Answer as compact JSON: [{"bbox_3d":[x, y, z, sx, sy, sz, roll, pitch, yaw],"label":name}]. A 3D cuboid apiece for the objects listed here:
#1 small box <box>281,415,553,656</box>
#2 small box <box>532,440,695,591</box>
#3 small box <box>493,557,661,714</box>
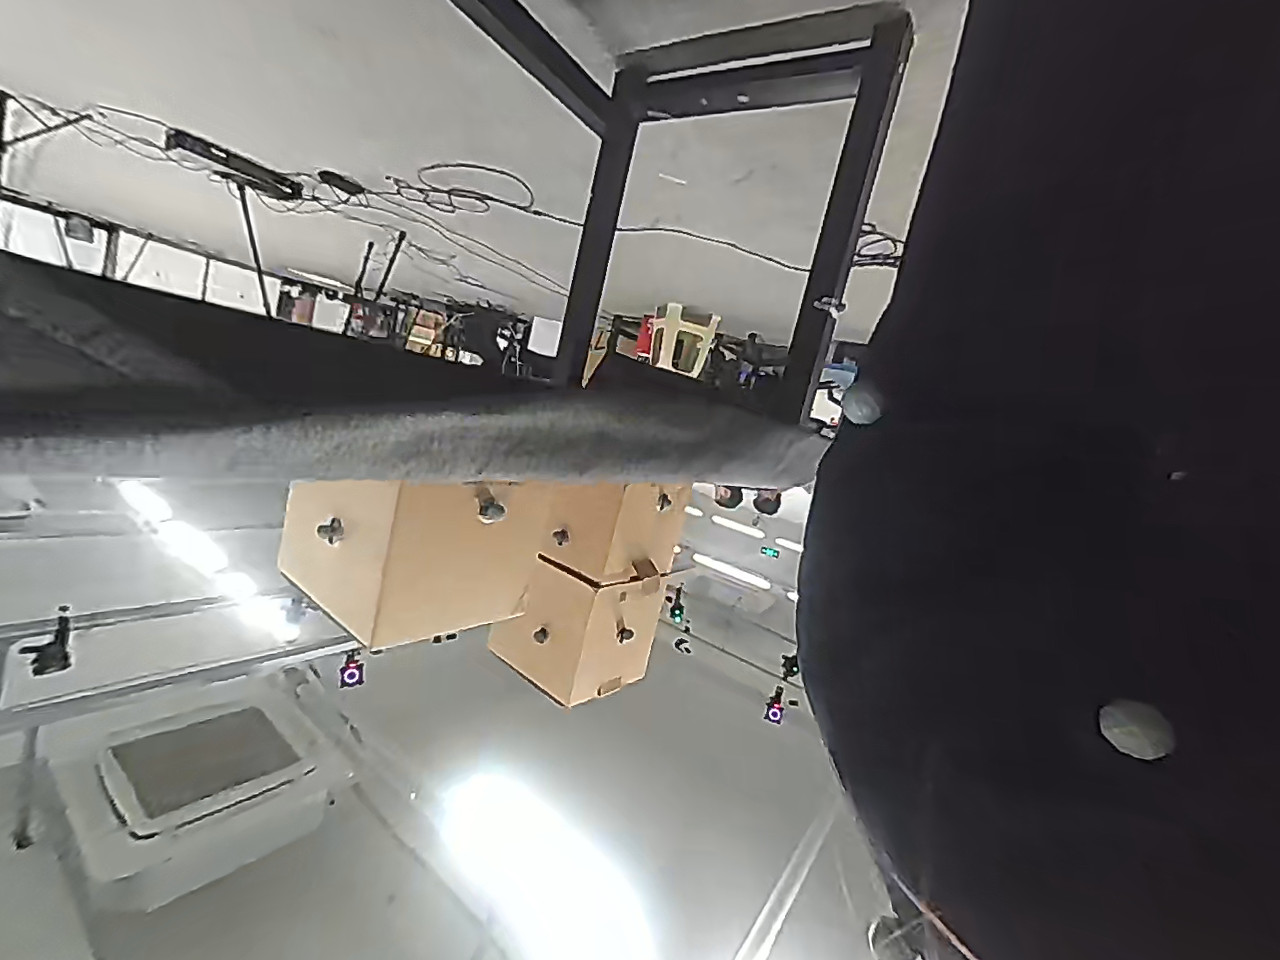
[{"bbox_3d":[-0.207,0.037,0.520,0.179,0.176,0.168,19,-171,34],"label":"small box"},{"bbox_3d":[-0.046,0.041,0.772,0.179,0.176,0.168,18,-172,35],"label":"small box"},{"bbox_3d":[-0.085,0.199,0.785,0.179,0.176,0.168,17,-172,37],"label":"small box"}]
